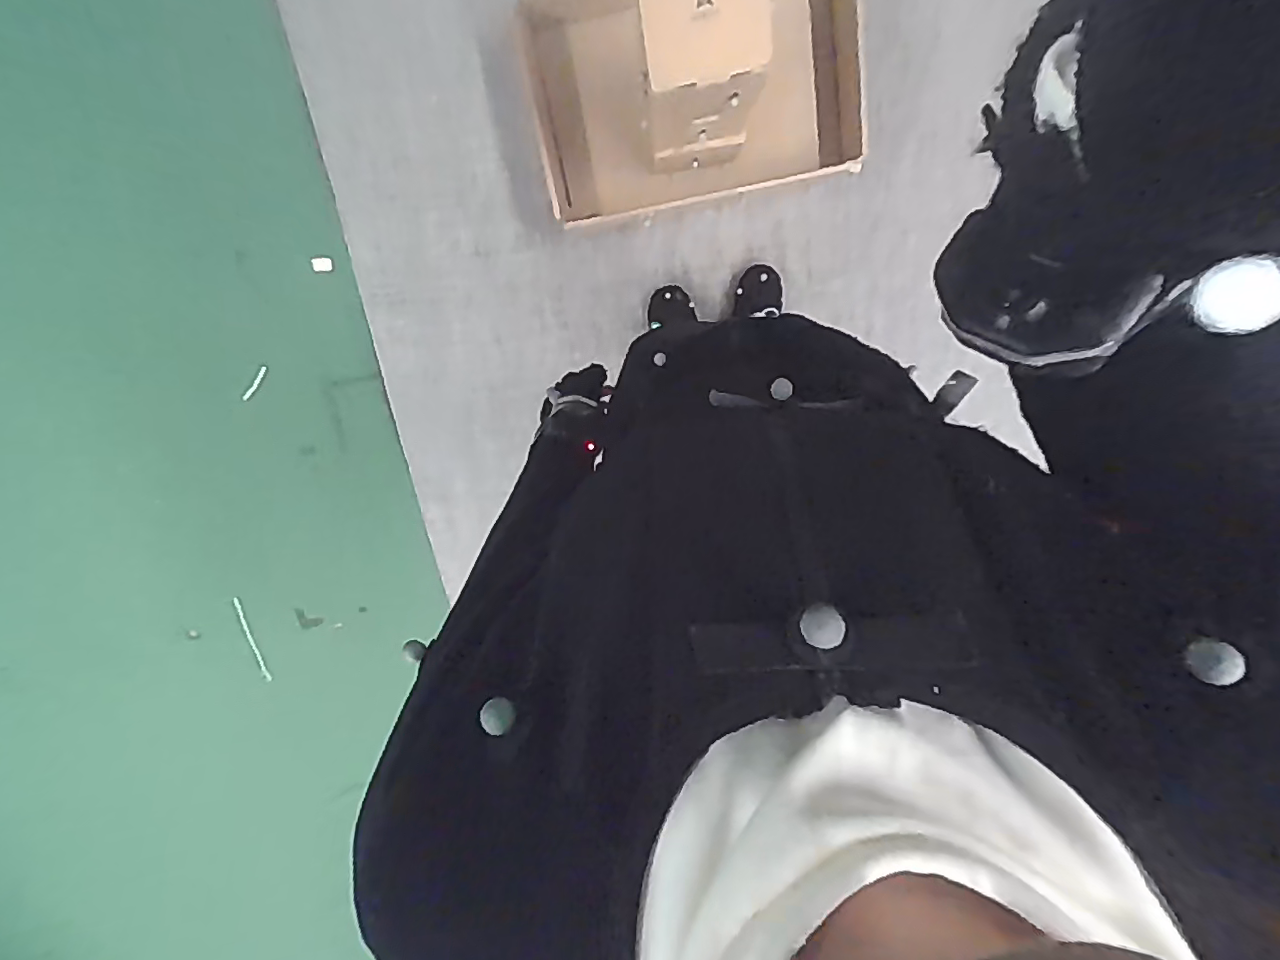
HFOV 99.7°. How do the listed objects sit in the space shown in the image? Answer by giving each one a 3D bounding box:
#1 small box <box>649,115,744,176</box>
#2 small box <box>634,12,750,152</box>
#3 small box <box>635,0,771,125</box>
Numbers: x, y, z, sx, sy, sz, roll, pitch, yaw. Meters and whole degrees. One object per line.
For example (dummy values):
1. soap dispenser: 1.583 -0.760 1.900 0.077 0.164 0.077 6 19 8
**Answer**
1. small box: 0.109 -0.732 1.093 0.179 0.176 0.168 -6 108 6
2. small box: 0.092 -0.693 0.937 0.168 0.176 0.179 -10 108 8
3. small box: 0.083 -0.631 0.767 0.168 0.176 0.179 -9 108 5
